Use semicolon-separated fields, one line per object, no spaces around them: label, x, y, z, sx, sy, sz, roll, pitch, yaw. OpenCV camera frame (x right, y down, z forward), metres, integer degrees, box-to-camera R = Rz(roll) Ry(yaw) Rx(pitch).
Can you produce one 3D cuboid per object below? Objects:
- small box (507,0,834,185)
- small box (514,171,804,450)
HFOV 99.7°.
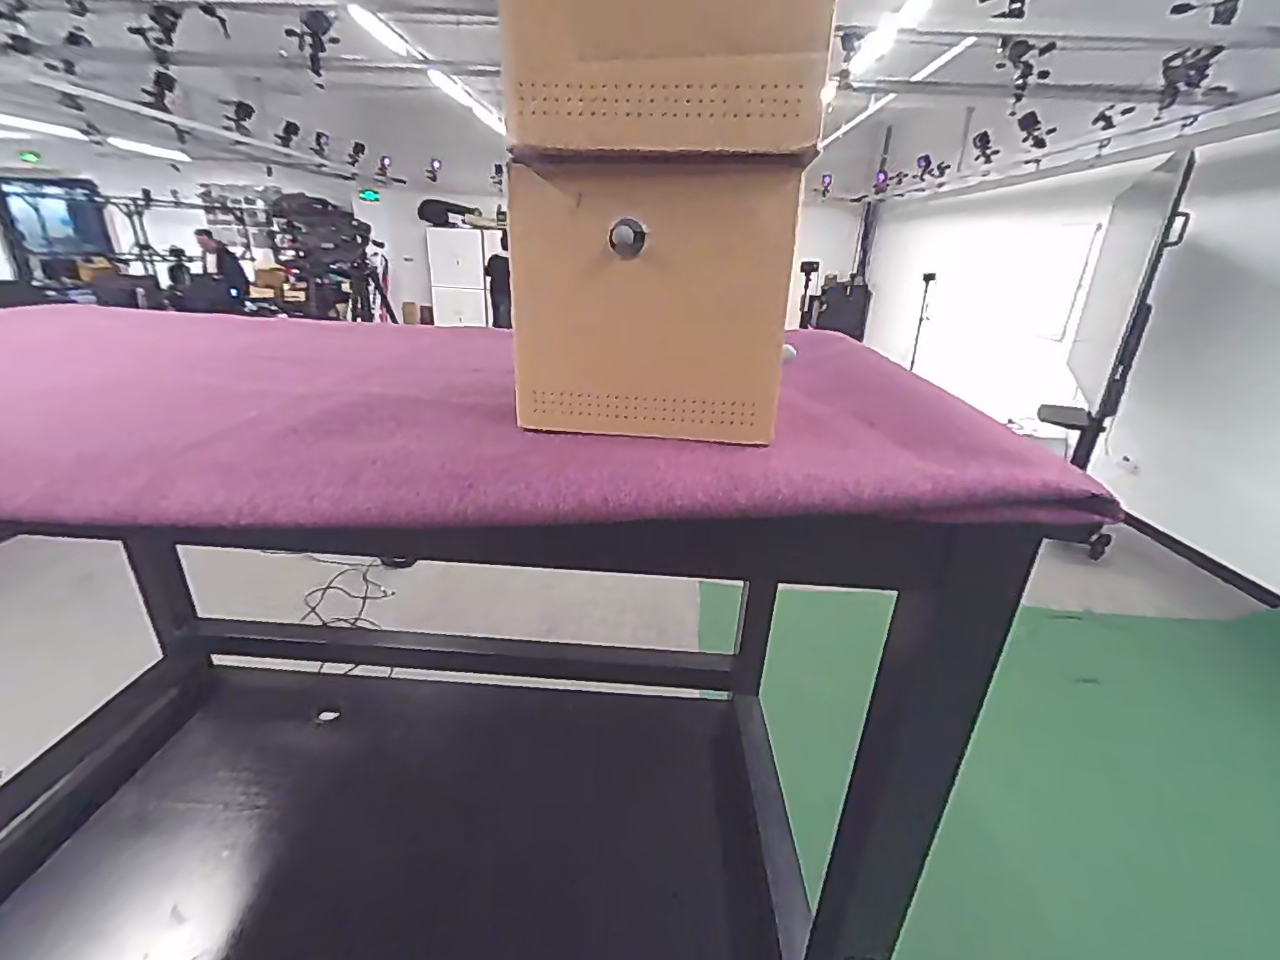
small box;0.020;-0.272;0.343;0.179;0.176;0.168;3;21;4
small box;0.018;-0.125;0.414;0.179;0.176;0.168;5;21;7
